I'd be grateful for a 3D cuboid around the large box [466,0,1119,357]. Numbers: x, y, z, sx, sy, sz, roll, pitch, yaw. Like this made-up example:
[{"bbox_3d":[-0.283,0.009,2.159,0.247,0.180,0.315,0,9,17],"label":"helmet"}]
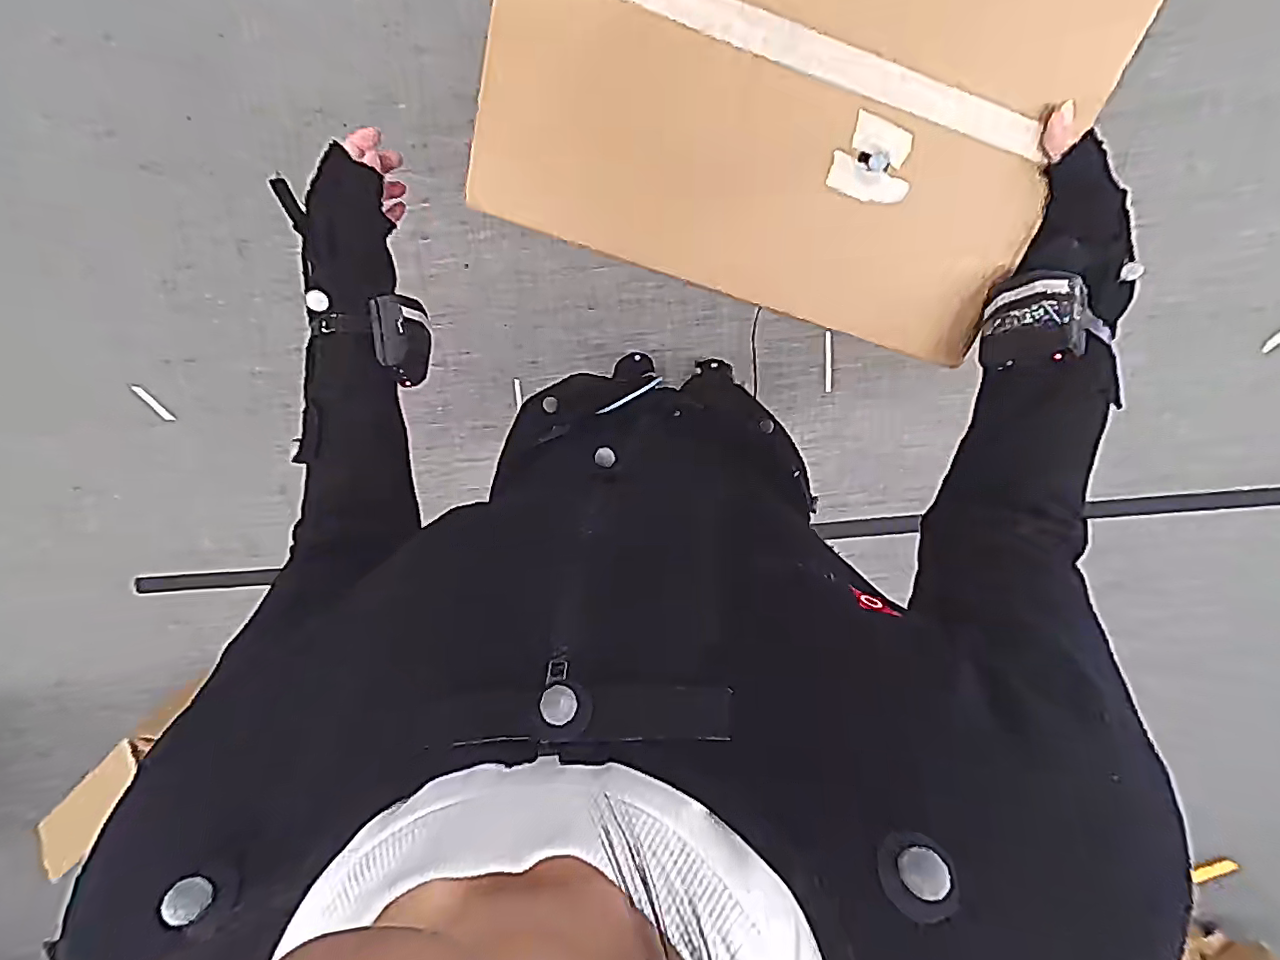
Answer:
[{"bbox_3d":[0.092,-0.342,0.499,0.408,0.320,0.320,14,116,-9],"label":"large box"}]
